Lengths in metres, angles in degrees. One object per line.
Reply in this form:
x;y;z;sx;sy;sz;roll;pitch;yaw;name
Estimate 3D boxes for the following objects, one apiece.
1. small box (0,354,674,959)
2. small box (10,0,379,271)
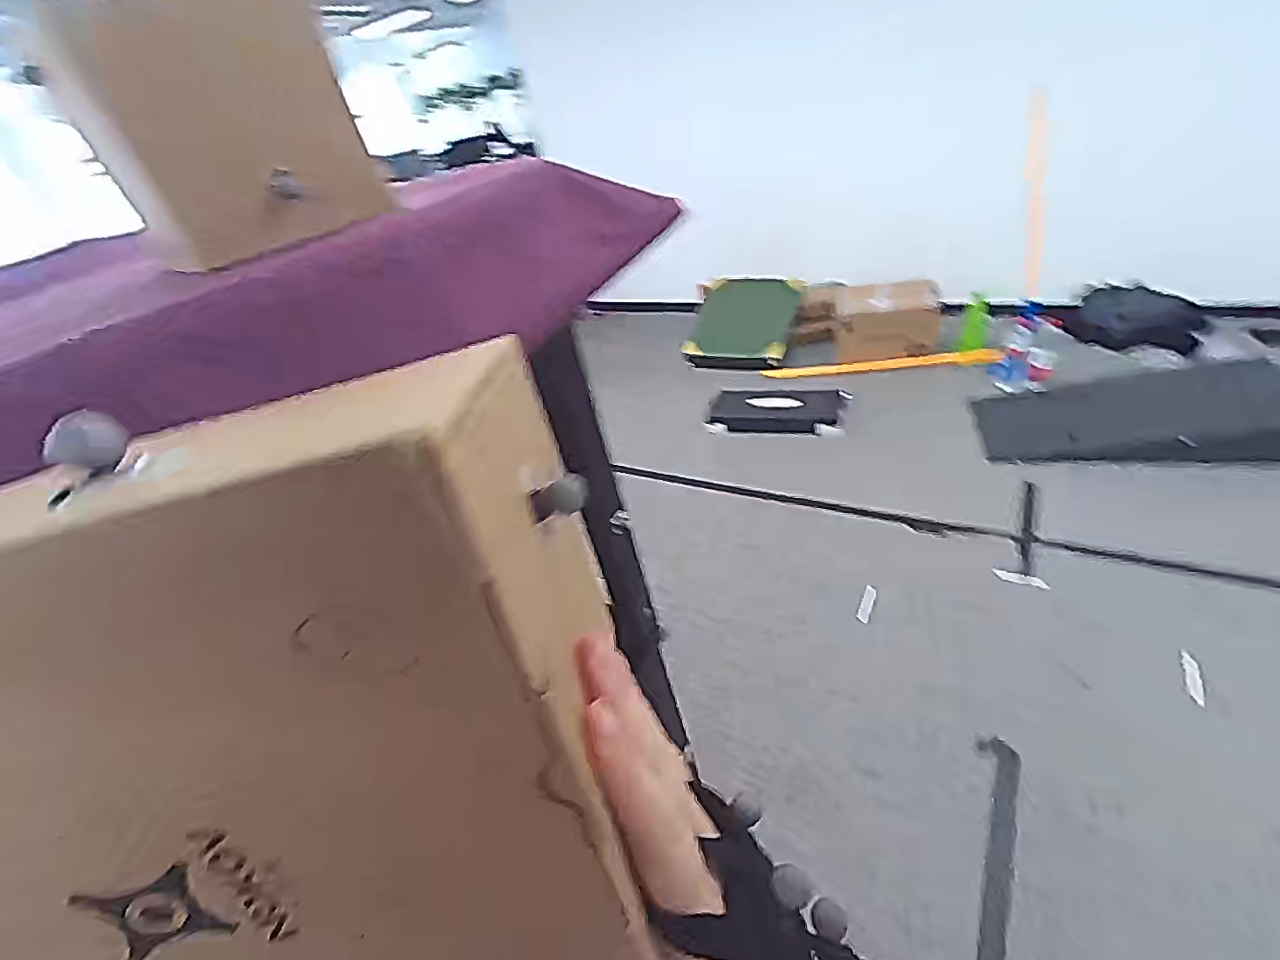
-0.102;0.061;0.189;0.179;0.168;0.176;-15;19;-2;small box
-0.355;-0.293;0.460;0.168;0.176;0.179;19;47;38;small box
